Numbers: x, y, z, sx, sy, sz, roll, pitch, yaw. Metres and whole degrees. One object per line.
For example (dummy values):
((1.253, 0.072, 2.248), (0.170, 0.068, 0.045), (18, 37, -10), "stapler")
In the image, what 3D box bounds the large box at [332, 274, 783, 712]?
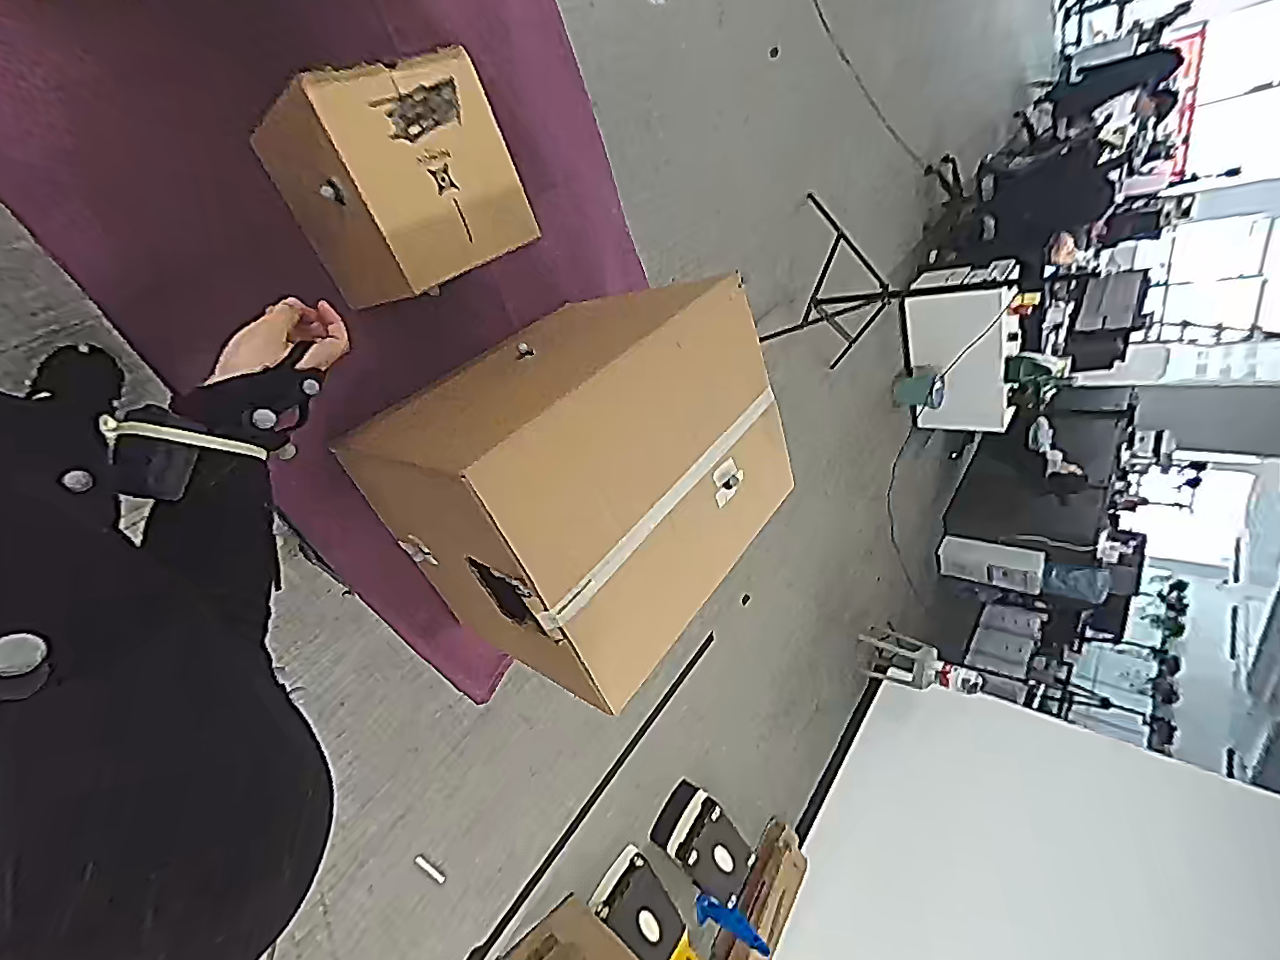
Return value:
((-0.073, -0.012, 0.683), (0.408, 0.320, 0.320), (-45, 127, -34), "large box")
